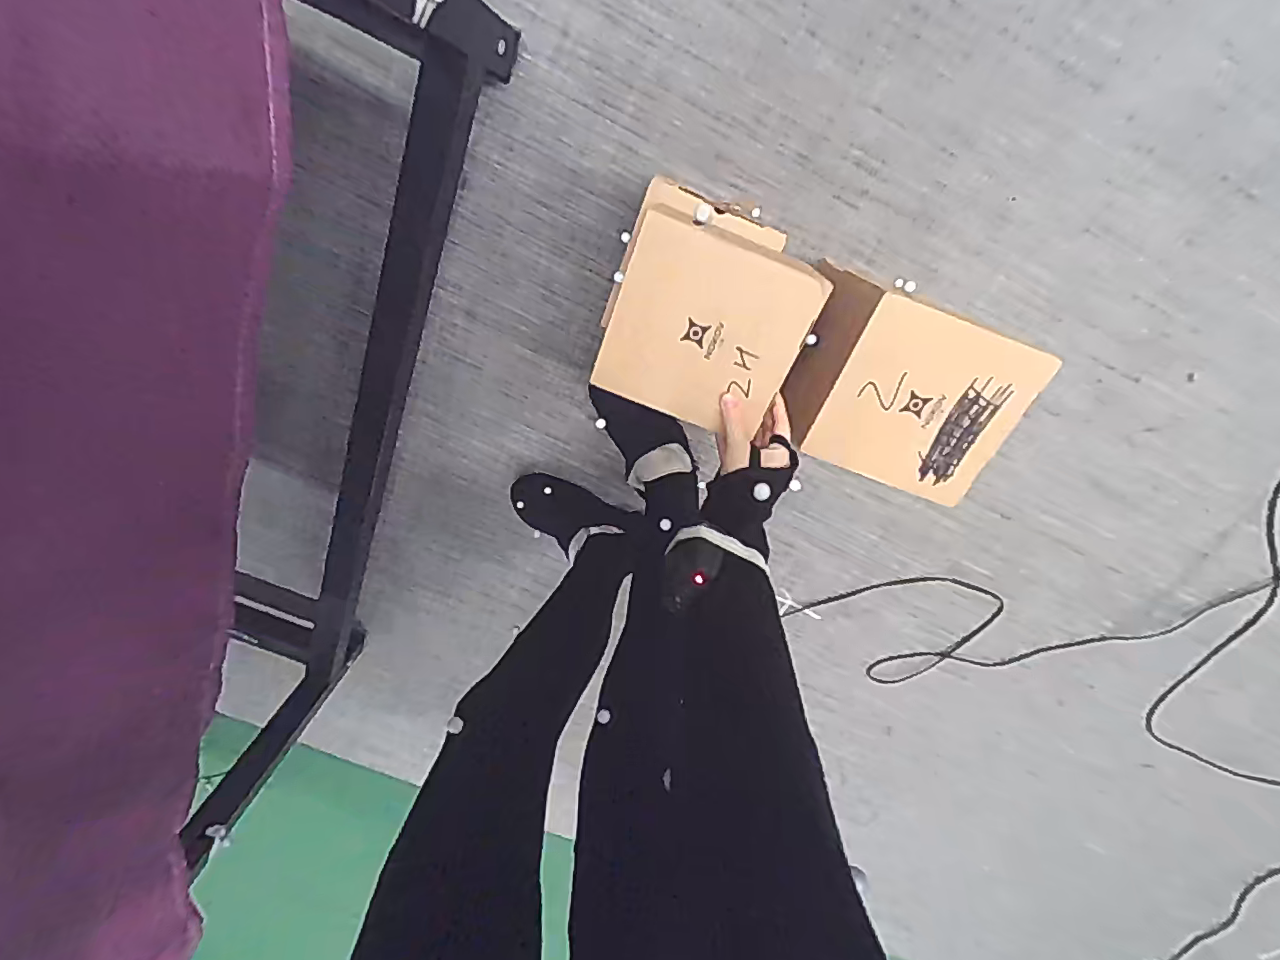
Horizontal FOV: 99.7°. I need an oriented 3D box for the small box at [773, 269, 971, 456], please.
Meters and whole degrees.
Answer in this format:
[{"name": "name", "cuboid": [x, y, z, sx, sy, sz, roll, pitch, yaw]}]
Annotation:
[{"name": "small box", "cuboid": [0.292, -0.165, 0.732, 0.168, 0.176, 0.179, 20, 118, -4]}]
